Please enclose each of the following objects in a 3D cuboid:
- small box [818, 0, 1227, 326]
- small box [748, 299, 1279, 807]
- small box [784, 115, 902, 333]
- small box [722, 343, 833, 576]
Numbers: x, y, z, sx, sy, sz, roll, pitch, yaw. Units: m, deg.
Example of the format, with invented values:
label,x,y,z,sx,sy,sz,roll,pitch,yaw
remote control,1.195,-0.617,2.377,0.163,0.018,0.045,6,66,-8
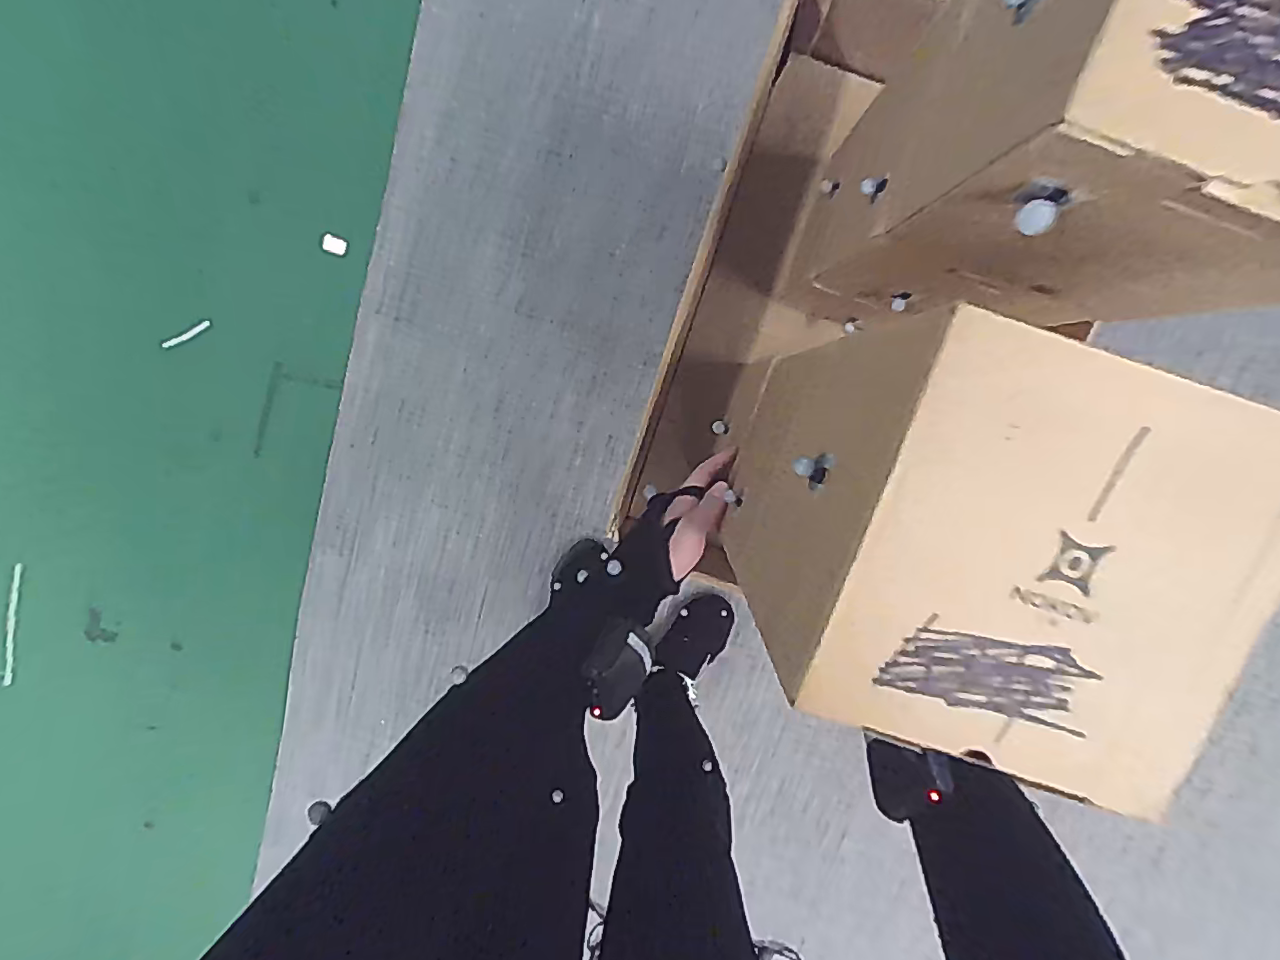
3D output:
label,x,y,z,sx,sy,sz,roll,pitch,yaw
small box,0.262,-0.230,0.424,0.168,0.176,0.179,18,102,-1
small box,0.169,0.024,0.299,0.168,0.176,0.179,18,99,-1
small box,0.271,-0.261,0.583,0.168,0.176,0.179,19,101,0
small box,0.177,0.001,0.461,0.168,0.176,0.179,20,99,-1
